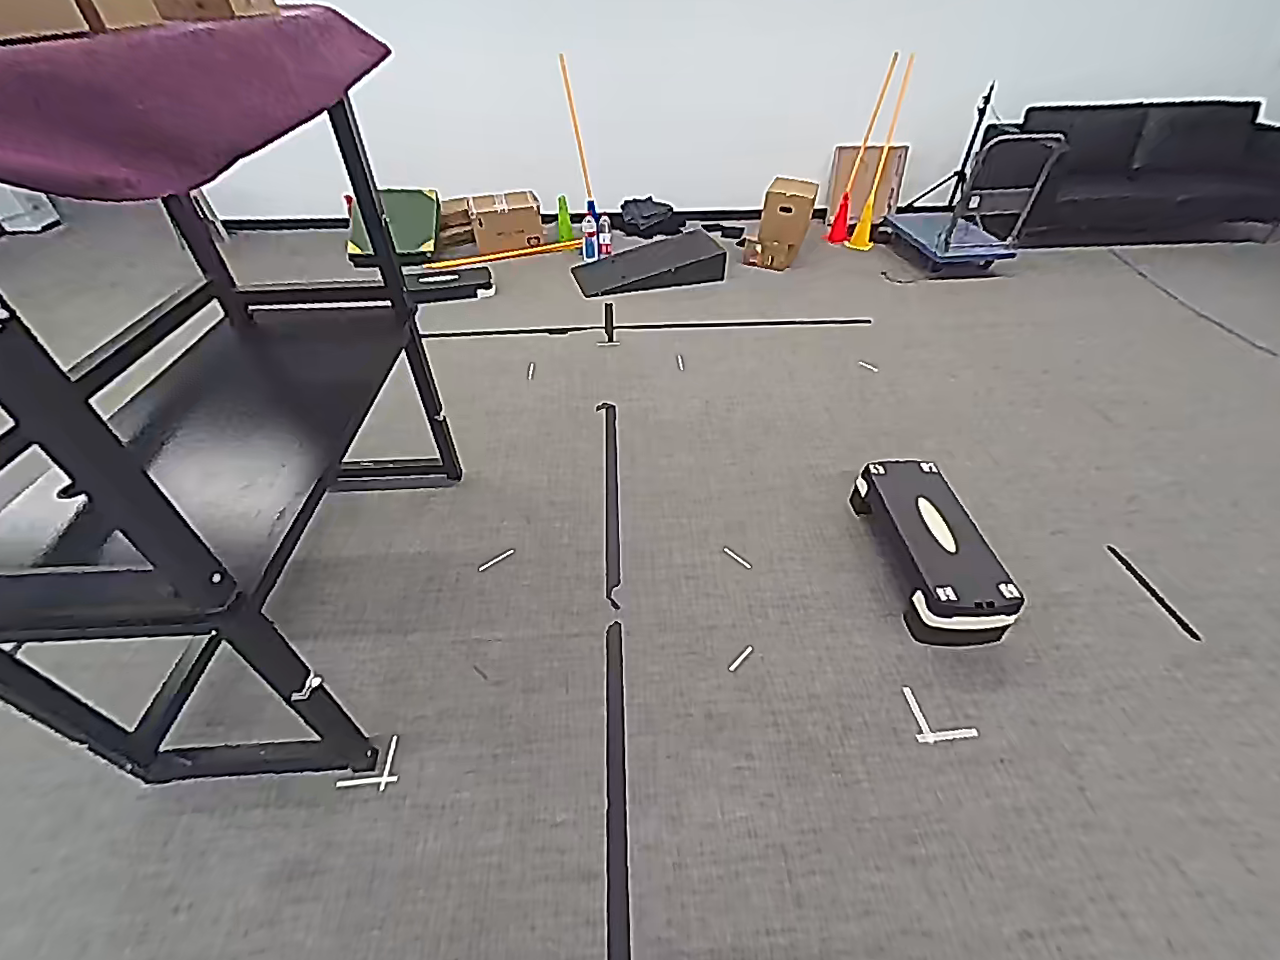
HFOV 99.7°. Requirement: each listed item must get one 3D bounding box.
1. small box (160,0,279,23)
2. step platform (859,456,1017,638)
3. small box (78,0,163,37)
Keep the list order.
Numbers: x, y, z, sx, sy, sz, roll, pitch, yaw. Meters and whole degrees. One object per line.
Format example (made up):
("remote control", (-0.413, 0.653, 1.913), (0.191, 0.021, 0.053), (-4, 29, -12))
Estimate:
("small box", (-0.868, -1.032, 1.084), (0.168, 0.176, 0.179), (0, 42, 2))
("step platform", (0.999, 0.194, 1.878), (0.286, 0.204, 0.684), (2, 42, 2))
("small box", (-0.894, -0.794, 0.829), (0.168, 0.176, 0.179), (-6, 43, -5))
